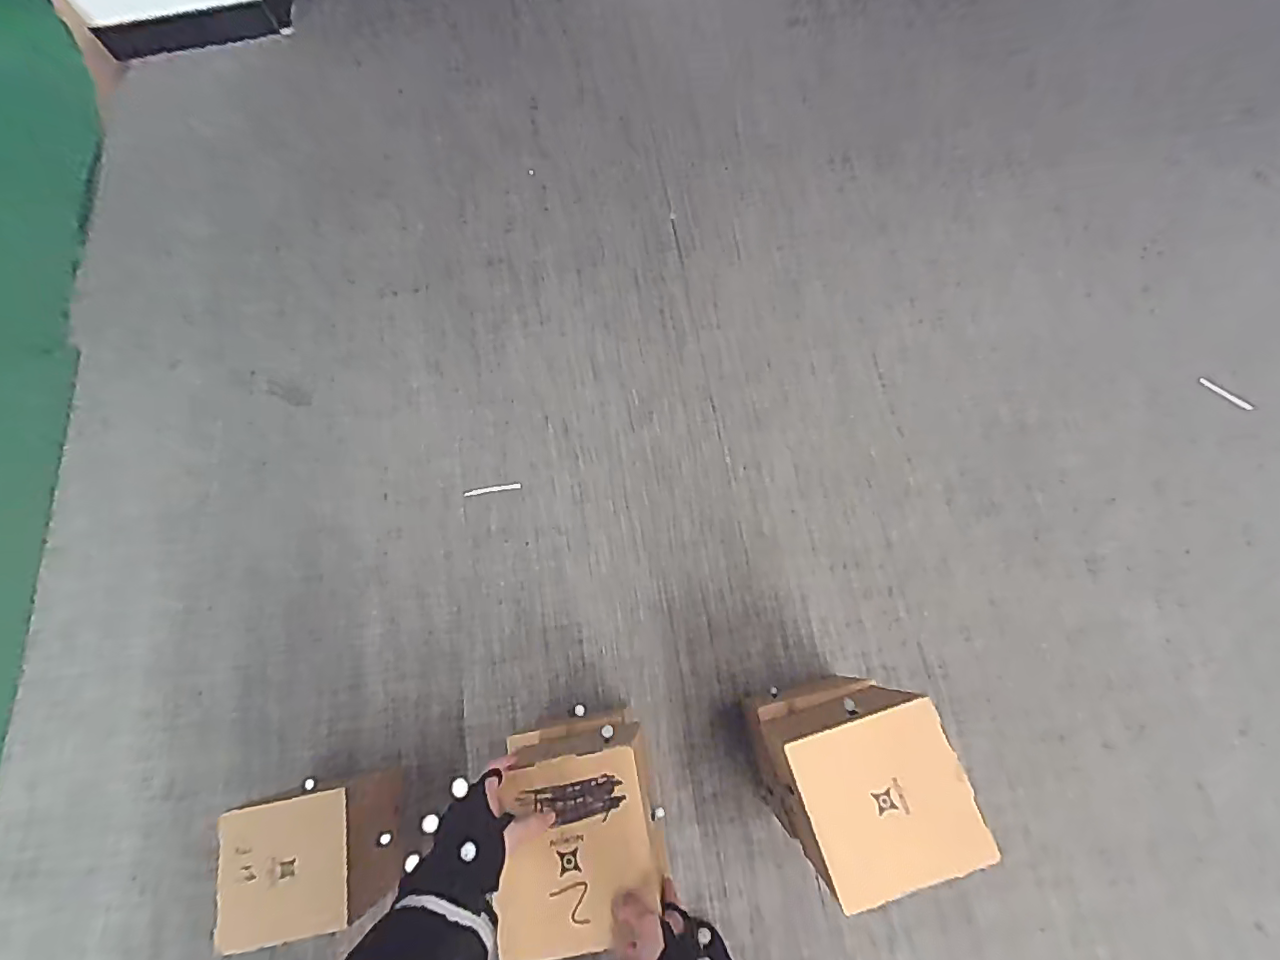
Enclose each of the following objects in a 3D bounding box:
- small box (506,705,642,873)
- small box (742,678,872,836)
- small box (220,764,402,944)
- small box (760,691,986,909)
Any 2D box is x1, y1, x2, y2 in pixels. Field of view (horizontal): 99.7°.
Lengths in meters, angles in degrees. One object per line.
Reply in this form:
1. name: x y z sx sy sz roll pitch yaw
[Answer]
1. small box: -0.093 0.449 0.813 0.168 0.176 0.179 -10 71 0
2. small box: 0.259 0.401 0.810 0.179 0.176 0.168 -12 72 -2
3. small box: -0.471 0.538 0.804 0.179 0.176 0.168 -11 71 -1
4. small box: 0.256 0.364 0.651 0.179 0.176 0.168 -17 72 -3
